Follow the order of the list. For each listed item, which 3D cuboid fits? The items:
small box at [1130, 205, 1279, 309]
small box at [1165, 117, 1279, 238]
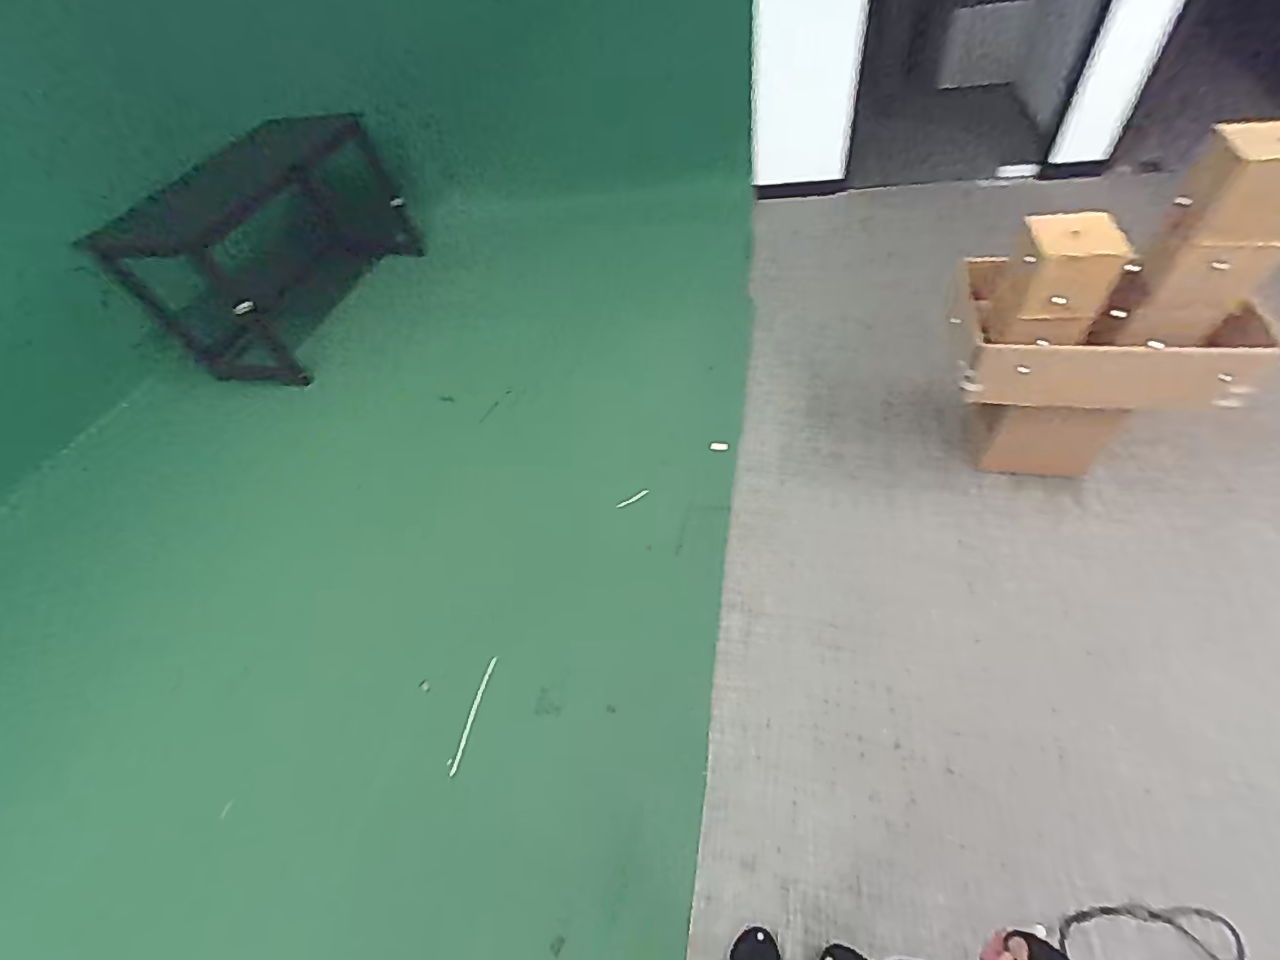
[{"bbox_3d":[1.266,-0.506,1.227,0.179,0.176,0.168,7,54,16],"label":"small box"},{"bbox_3d":[1.247,-0.613,1.105,0.179,0.176,0.168,6,53,17],"label":"small box"}]
